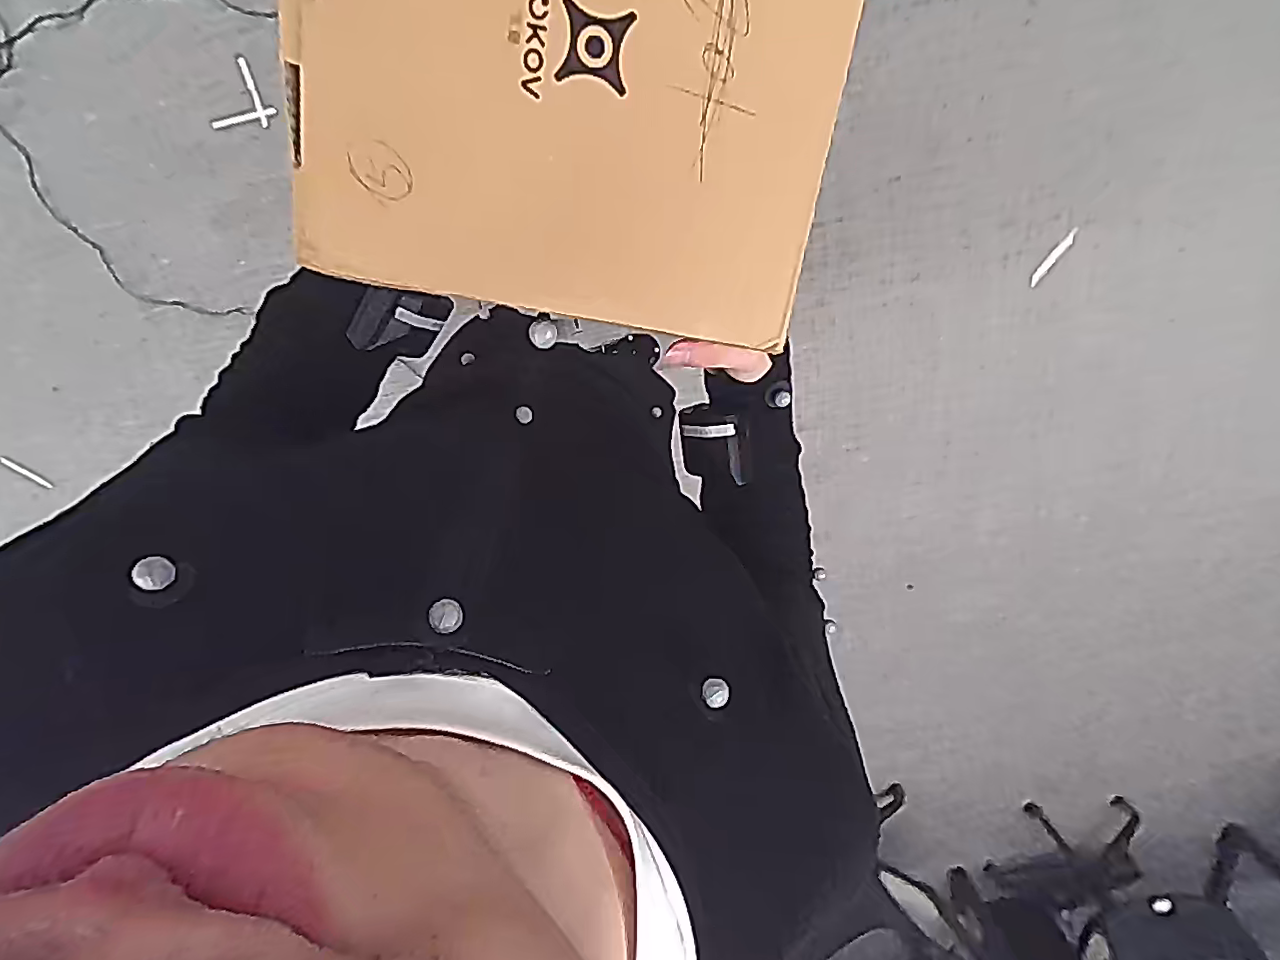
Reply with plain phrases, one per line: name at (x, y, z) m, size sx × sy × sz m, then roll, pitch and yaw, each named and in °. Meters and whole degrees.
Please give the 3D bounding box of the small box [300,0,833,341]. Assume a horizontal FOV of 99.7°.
small box at (-0.031, -0.166, 0.261) m, size 0.179 × 0.176 × 0.168 m, roll 7°, pitch 106°, yaw -8°
